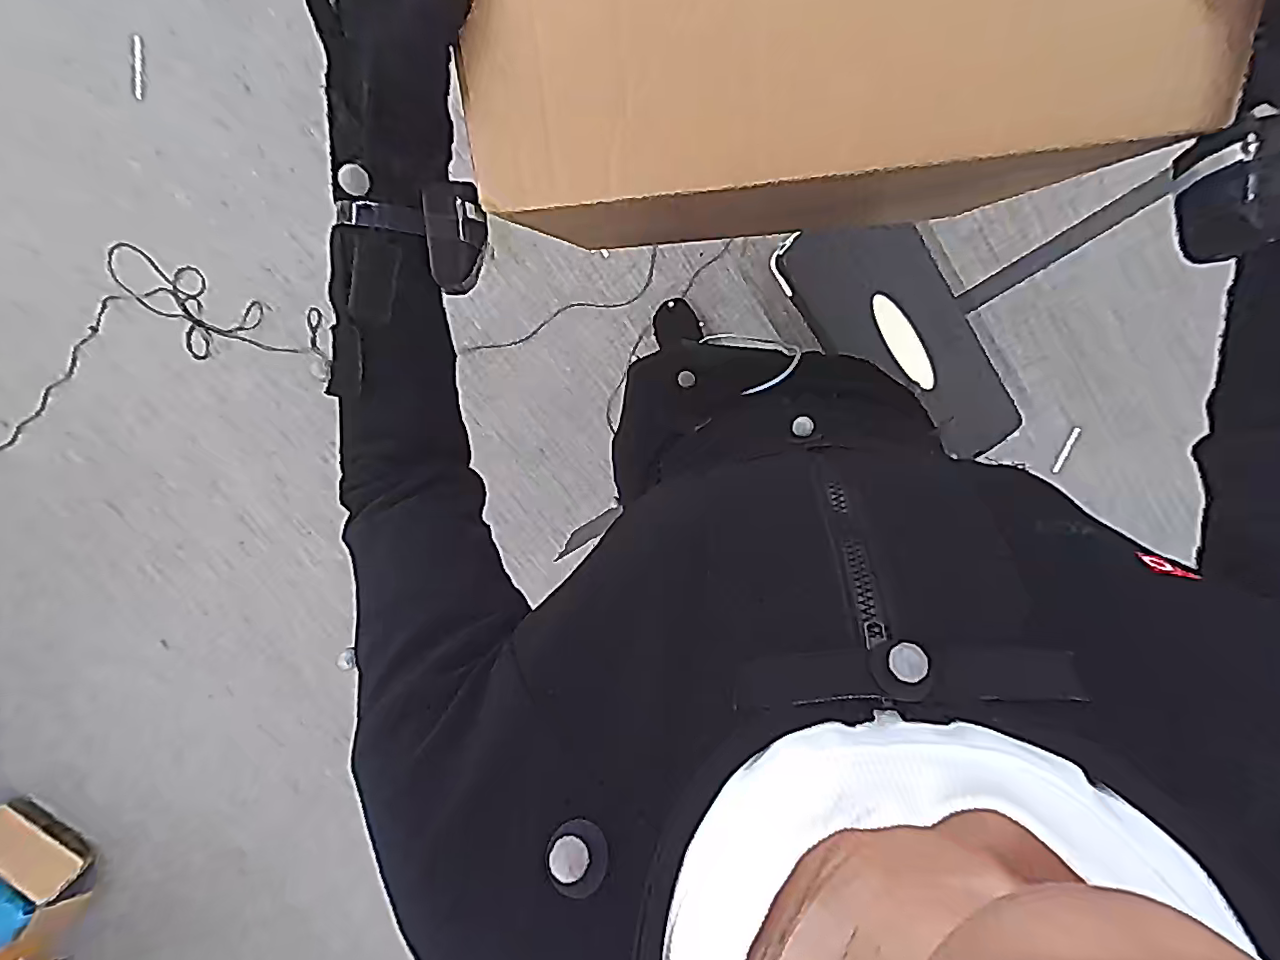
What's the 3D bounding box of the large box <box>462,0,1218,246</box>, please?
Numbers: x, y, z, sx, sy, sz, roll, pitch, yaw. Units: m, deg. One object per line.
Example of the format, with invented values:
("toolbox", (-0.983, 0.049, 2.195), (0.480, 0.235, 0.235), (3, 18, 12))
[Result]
("large box", (0.102, -0.378, 0.409), (0.408, 0.320, 0.320), (-3, 109, 7))
